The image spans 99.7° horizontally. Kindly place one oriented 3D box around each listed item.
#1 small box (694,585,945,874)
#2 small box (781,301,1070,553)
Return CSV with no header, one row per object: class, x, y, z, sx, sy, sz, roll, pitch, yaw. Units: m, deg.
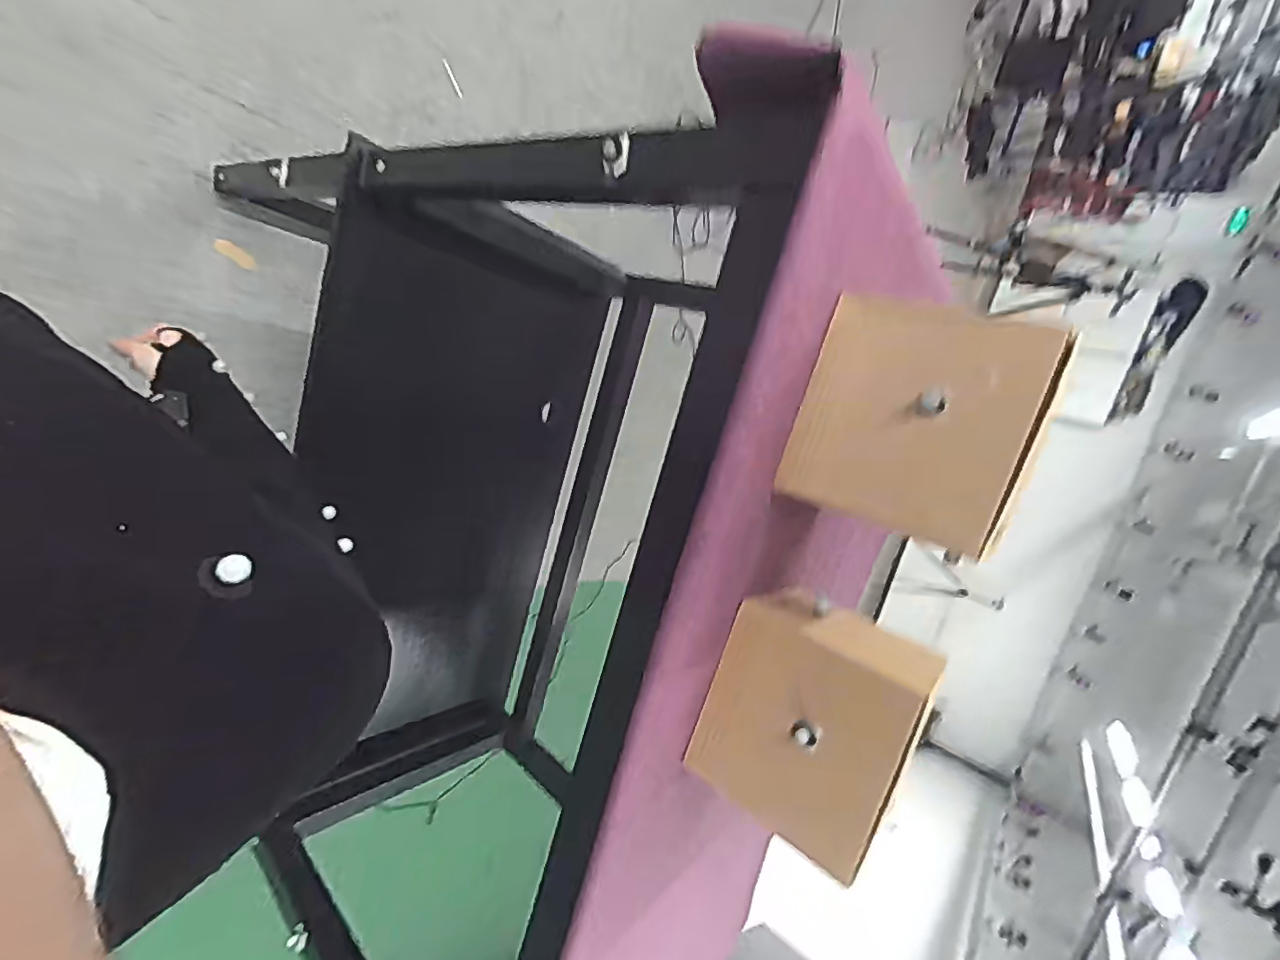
small box,0.174,0.220,0.535,0.168,0.176,0.179,10,99,-56
small box,0.249,-0.047,0.487,0.168,0.176,0.179,7,102,-54
